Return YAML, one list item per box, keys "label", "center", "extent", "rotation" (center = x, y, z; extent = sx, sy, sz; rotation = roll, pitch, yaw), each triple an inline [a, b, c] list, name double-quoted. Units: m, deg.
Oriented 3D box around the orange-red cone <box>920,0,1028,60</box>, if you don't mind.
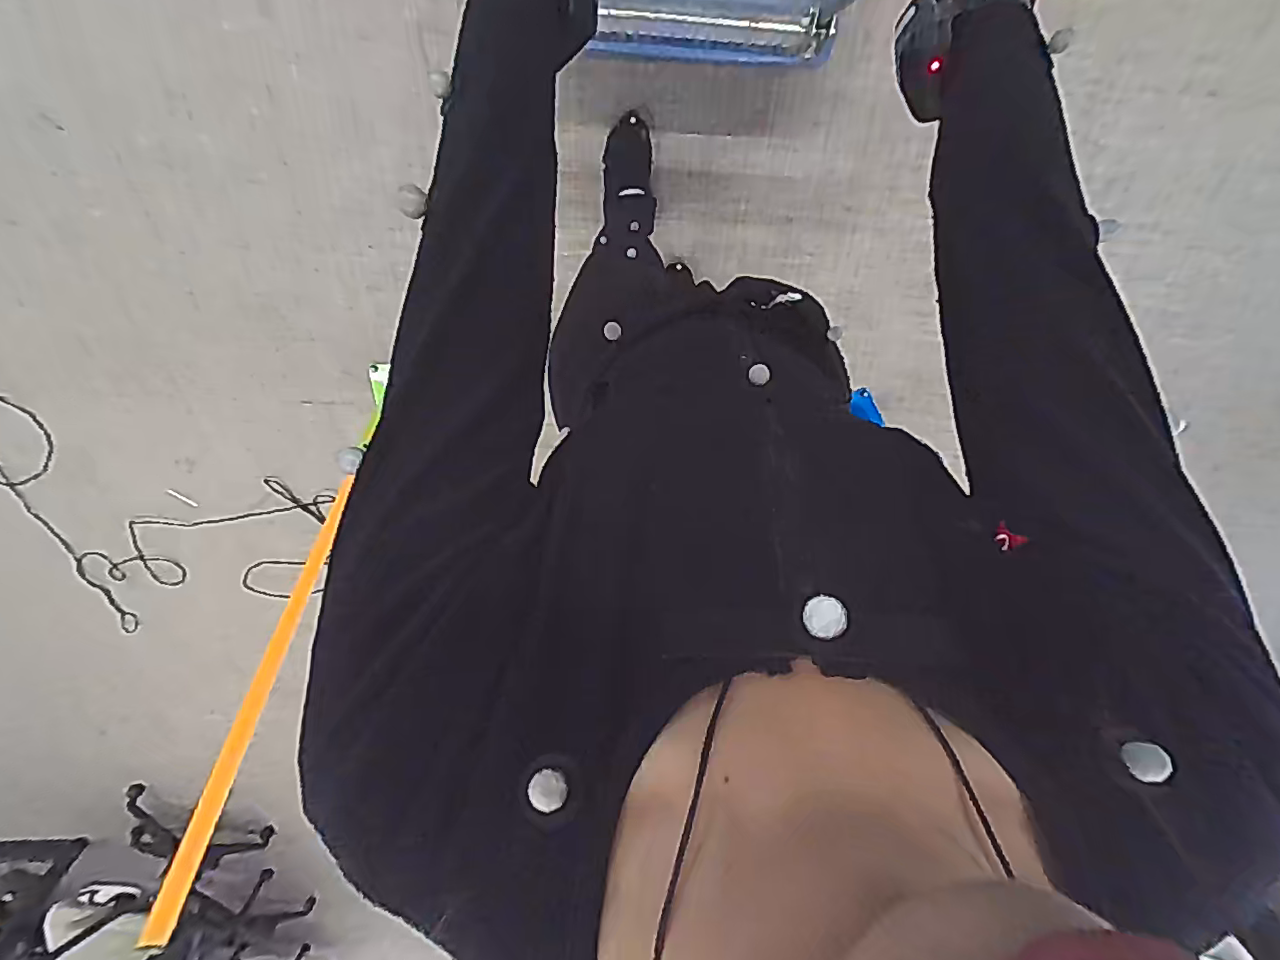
- label: "orange-red cone"
  center: [0.688, -0.893, 0.932]
  extent: [0.198, 0.360, 0.199]
  rotation: [12, 120, -8]
